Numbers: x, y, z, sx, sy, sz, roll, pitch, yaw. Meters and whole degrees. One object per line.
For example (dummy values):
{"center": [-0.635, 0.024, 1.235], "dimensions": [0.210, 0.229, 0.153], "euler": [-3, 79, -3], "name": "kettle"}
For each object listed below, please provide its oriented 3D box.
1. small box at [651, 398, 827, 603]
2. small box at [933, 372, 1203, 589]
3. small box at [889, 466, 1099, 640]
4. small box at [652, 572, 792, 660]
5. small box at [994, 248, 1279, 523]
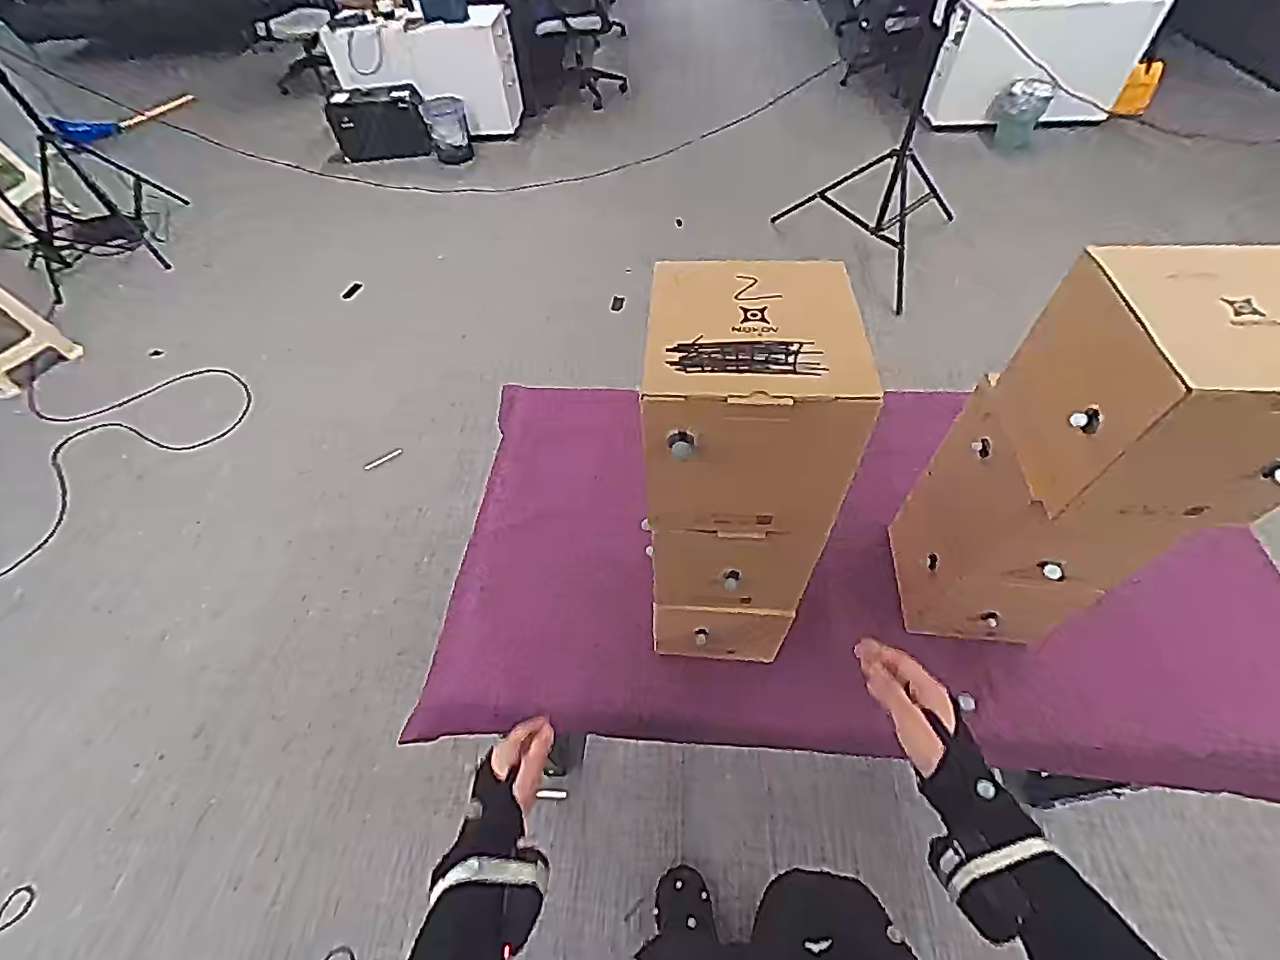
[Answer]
{"center": [0.100, 0.028, 0.612], "dimensions": [0.168, 0.176, 0.179], "euler": [1, 53, 3], "name": "small box"}
{"center": [0.458, 0.002, 0.611], "dimensions": [0.168, 0.176, 0.179], "euler": [4, 54, 6], "name": "small box"}
{"center": [0.461, 0.103, 0.741], "dimensions": [0.168, 0.176, 0.179], "euler": [5, 53, 6], "name": "small box"}
{"center": [0.107, 0.132, 0.738], "dimensions": [0.168, 0.176, 0.179], "euler": [3, 52, 5], "name": "small box"}
{"center": [0.452, -0.076, 0.468], "dimensions": [0.168, 0.176, 0.179], "euler": [2, 53, 3], "name": "small box"}
